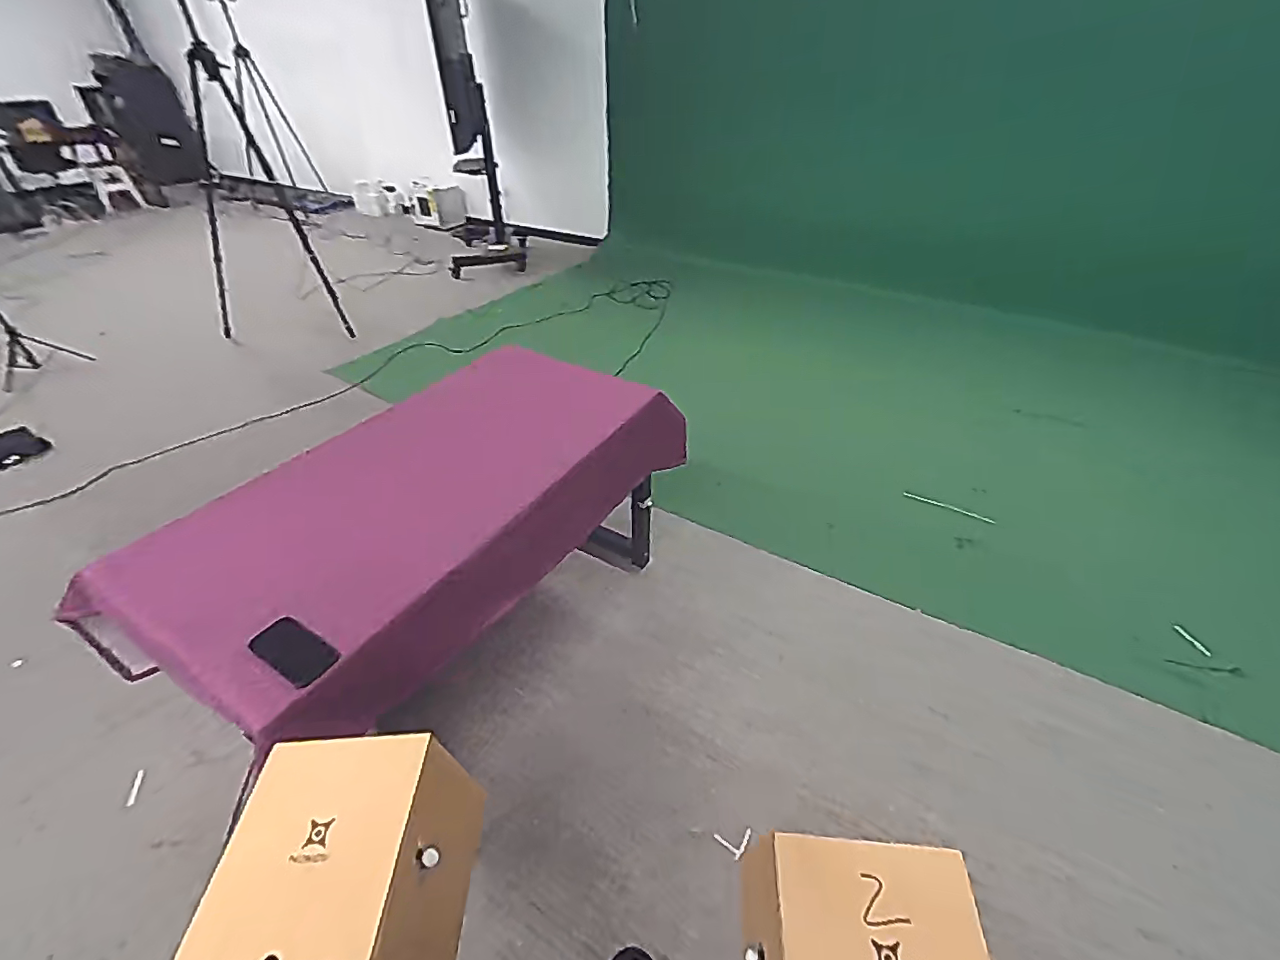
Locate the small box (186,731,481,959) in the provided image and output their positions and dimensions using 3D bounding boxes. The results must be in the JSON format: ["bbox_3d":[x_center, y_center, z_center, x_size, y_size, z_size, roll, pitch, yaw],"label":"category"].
[{"bbox_3d":[-0.273,0.374,0.538,0.168,0.176,0.179,-5,43,5],"label":"small box"}]
